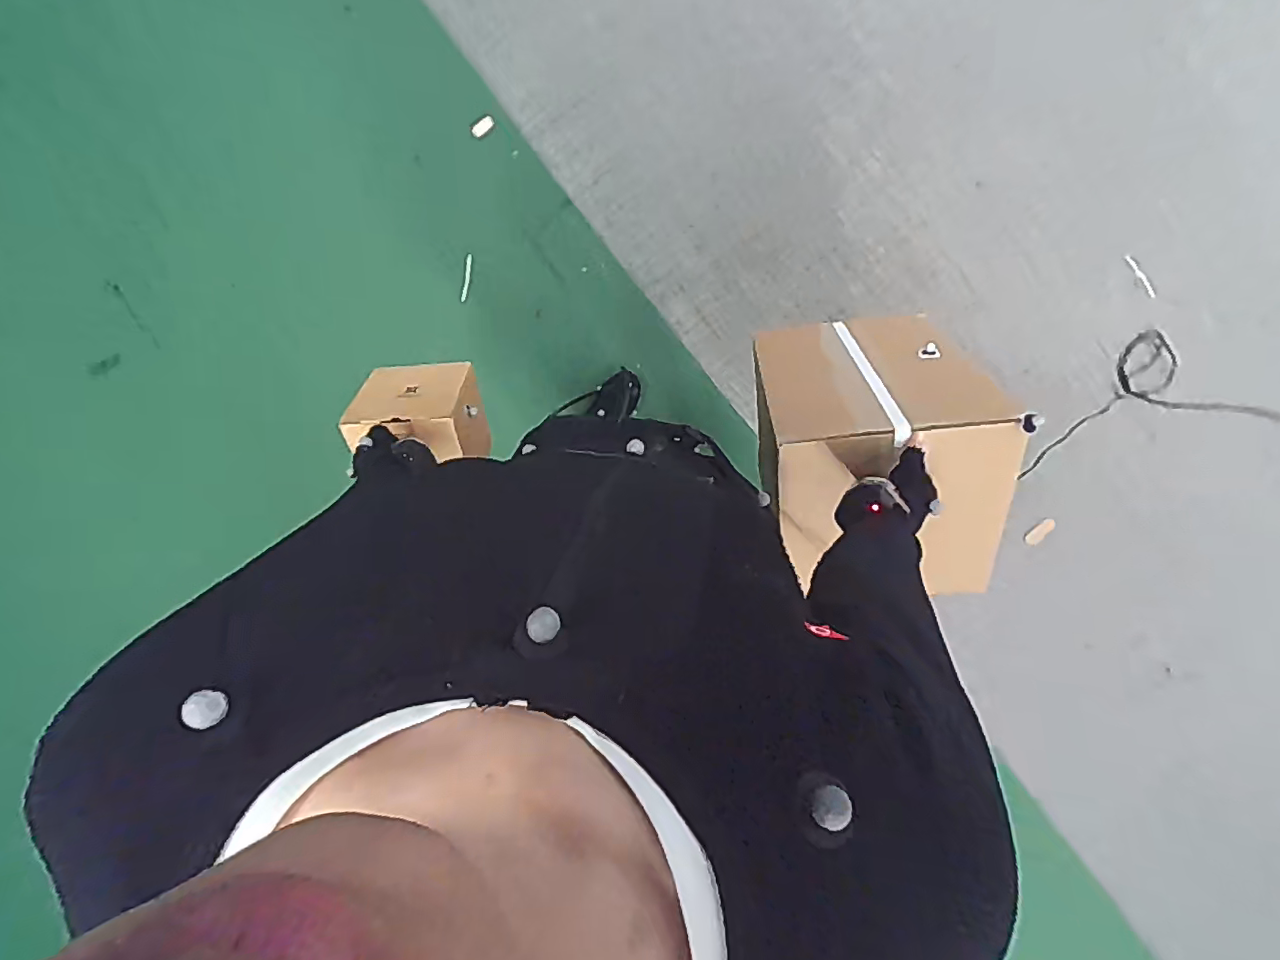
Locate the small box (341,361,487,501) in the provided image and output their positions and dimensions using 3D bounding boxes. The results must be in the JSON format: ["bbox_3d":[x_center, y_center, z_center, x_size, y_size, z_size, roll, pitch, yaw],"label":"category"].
[{"bbox_3d":[-0.364,-0.084,0.912,0.168,0.179,0.176,-4,129,-1],"label":"small box"}]
